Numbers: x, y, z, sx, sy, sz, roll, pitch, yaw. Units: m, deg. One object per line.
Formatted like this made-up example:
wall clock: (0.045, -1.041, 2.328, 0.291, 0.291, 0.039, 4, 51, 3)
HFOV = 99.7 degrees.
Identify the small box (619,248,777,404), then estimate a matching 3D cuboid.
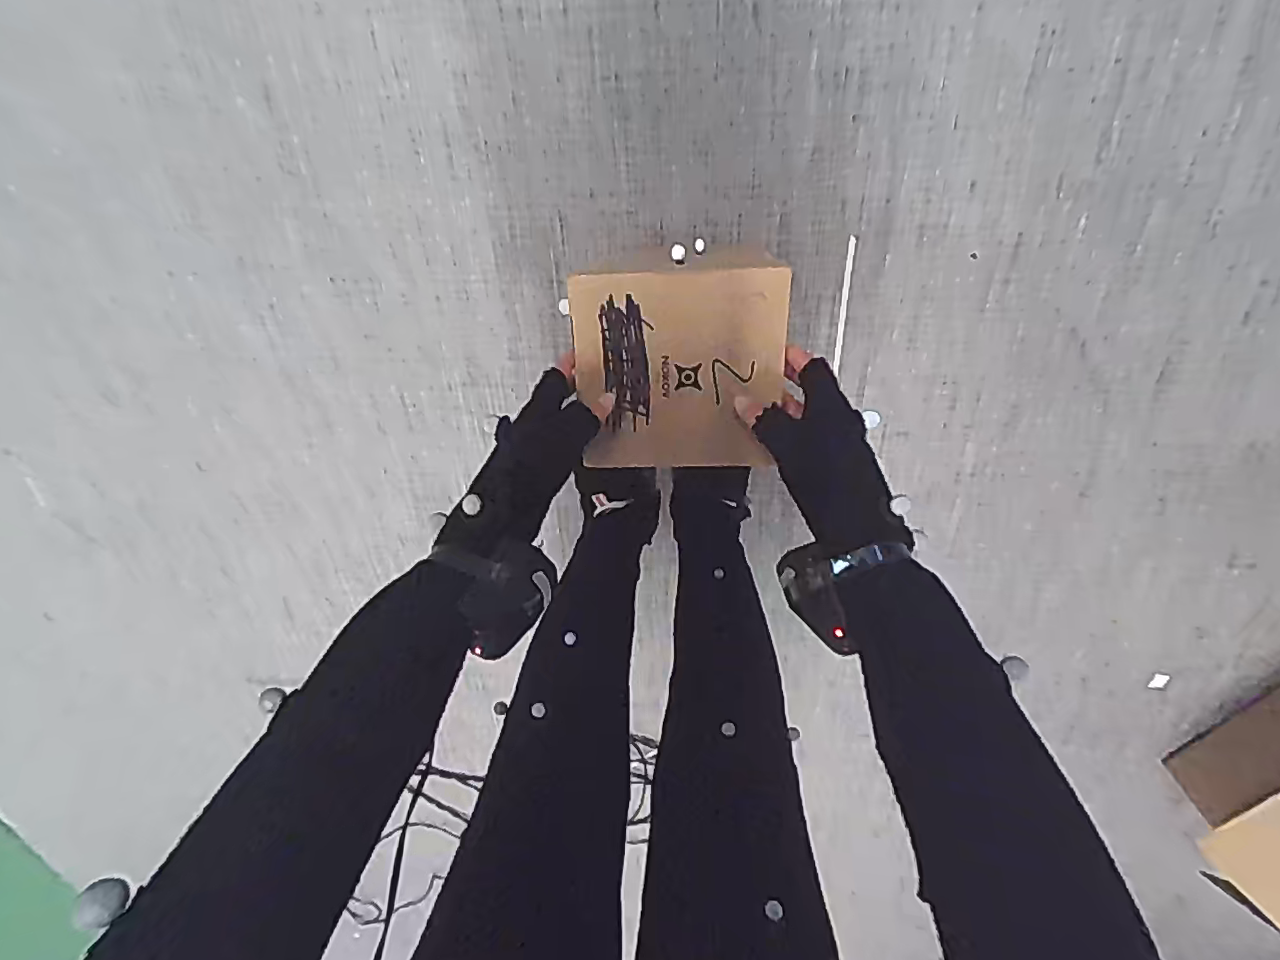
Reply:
small box: (0.074, -0.205, 0.700, 0.179, 0.176, 0.168, 1, 117, 7)
